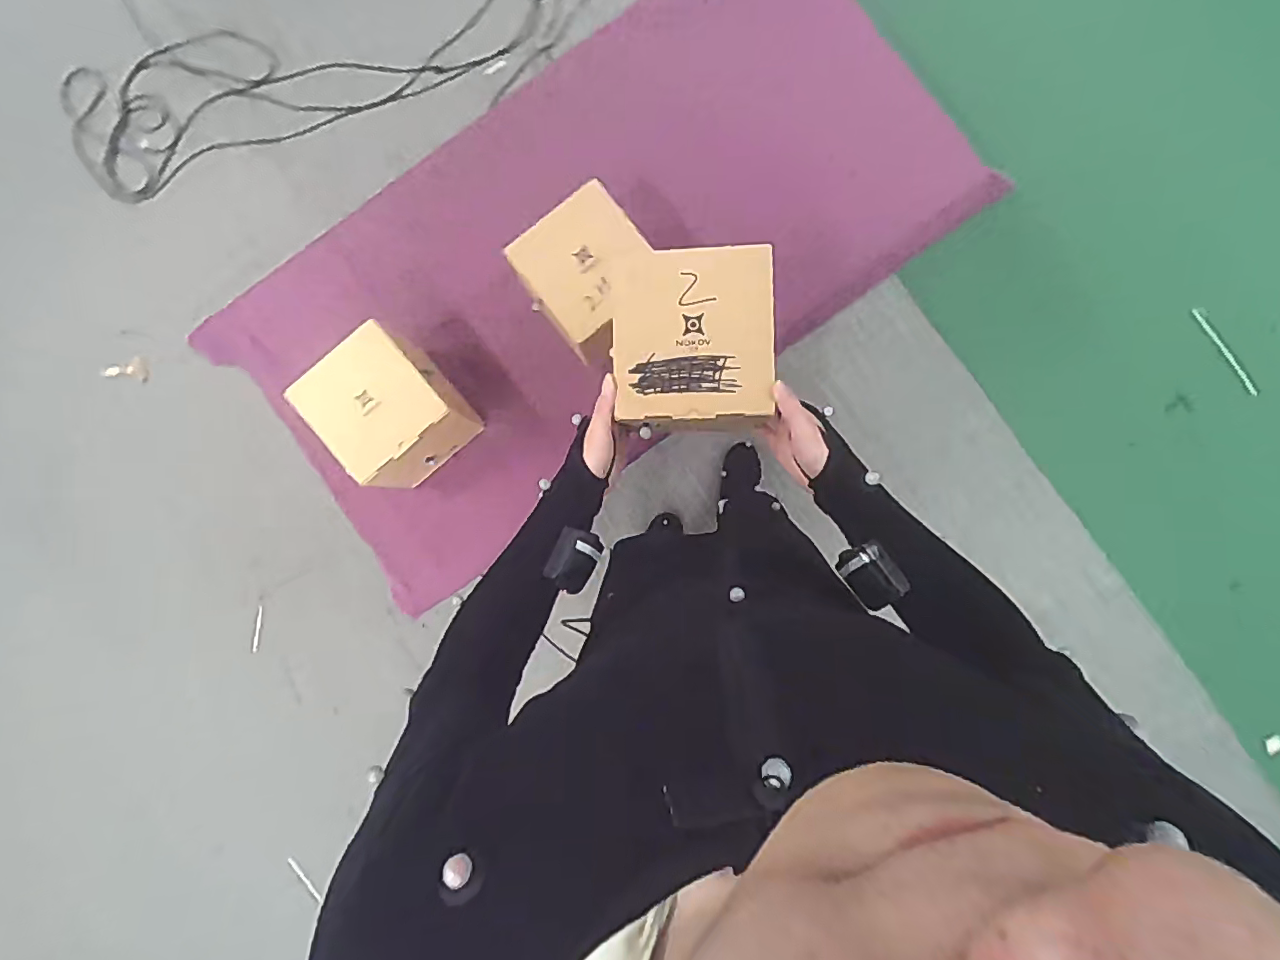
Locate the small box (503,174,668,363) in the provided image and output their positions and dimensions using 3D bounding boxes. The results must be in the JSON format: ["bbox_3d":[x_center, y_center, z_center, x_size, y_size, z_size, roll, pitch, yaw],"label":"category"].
[{"bbox_3d":[-0.076,-0.307,0.825,0.168,0.176,0.179,-38,88,1],"label":"small box"}]

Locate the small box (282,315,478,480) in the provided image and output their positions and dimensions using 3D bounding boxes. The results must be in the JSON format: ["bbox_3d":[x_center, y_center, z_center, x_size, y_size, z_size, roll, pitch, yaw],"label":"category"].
[{"bbox_3d":[-0.382,-0.112,0.828,0.168,0.176,0.179,-41,89,0],"label":"small box"}]
